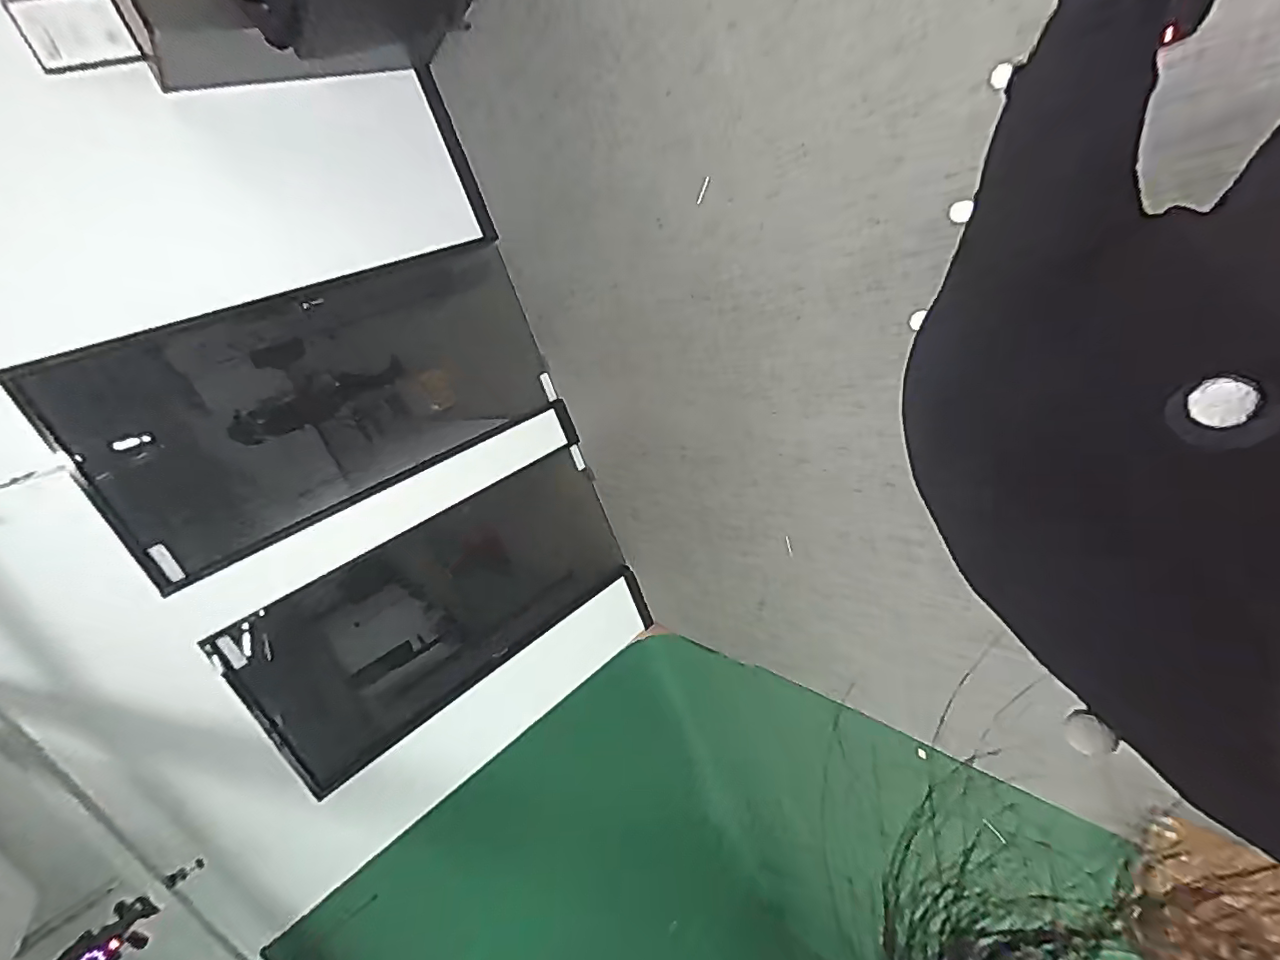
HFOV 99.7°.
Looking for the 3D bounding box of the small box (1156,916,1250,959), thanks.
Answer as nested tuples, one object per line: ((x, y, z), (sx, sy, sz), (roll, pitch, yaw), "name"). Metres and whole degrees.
((1.455, 1.301, 1.399), (0.168, 0.176, 0.179), (13, 125, 50), "small box")
